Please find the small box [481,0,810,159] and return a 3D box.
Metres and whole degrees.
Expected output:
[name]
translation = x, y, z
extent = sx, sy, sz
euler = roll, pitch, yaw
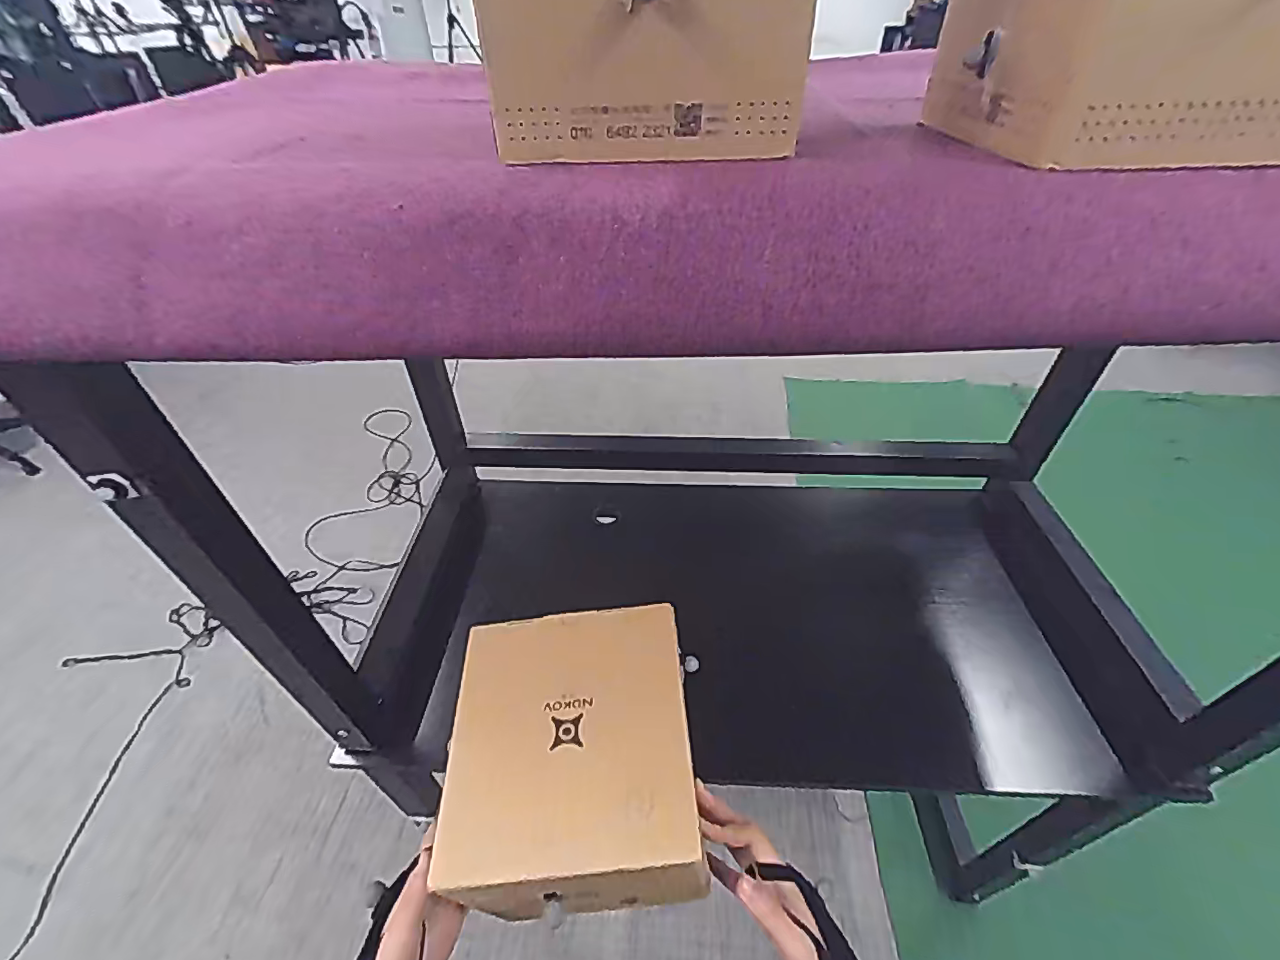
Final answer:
[small box]
translation = 0.003, -0.295, 0.312
extent = 0.168, 0.176, 0.179
euler = -1, 41, 0
